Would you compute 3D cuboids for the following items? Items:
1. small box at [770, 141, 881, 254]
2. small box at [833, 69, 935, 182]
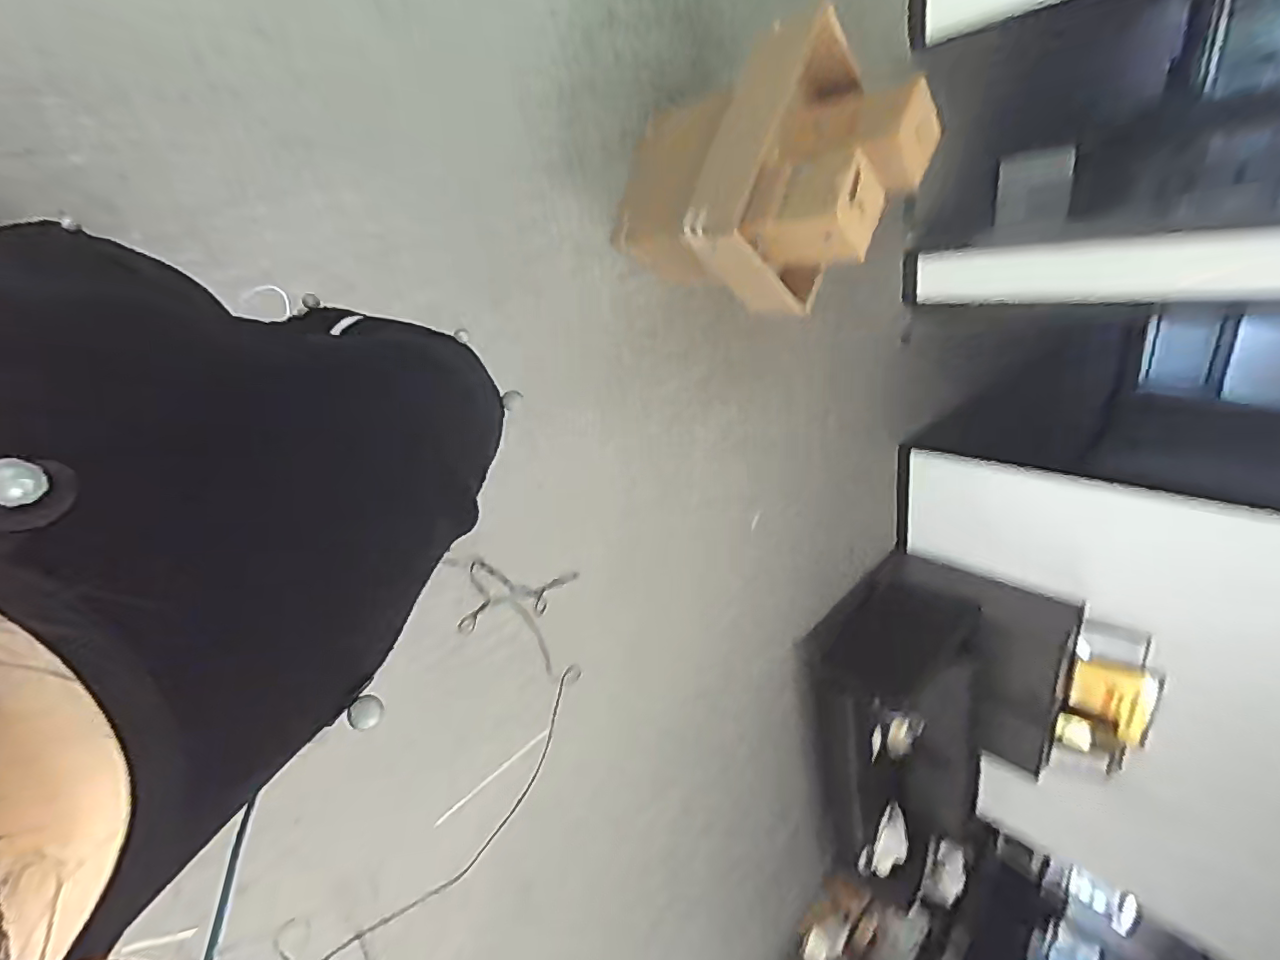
[{"bbox_3d":[0.438,-0.658,1.289,0.179,0.176,0.168,21,88,-45],"label":"small box"},{"bbox_3d":[0.622,-0.889,1.386,0.179,0.176,0.168,29,85,-44],"label":"small box"}]
